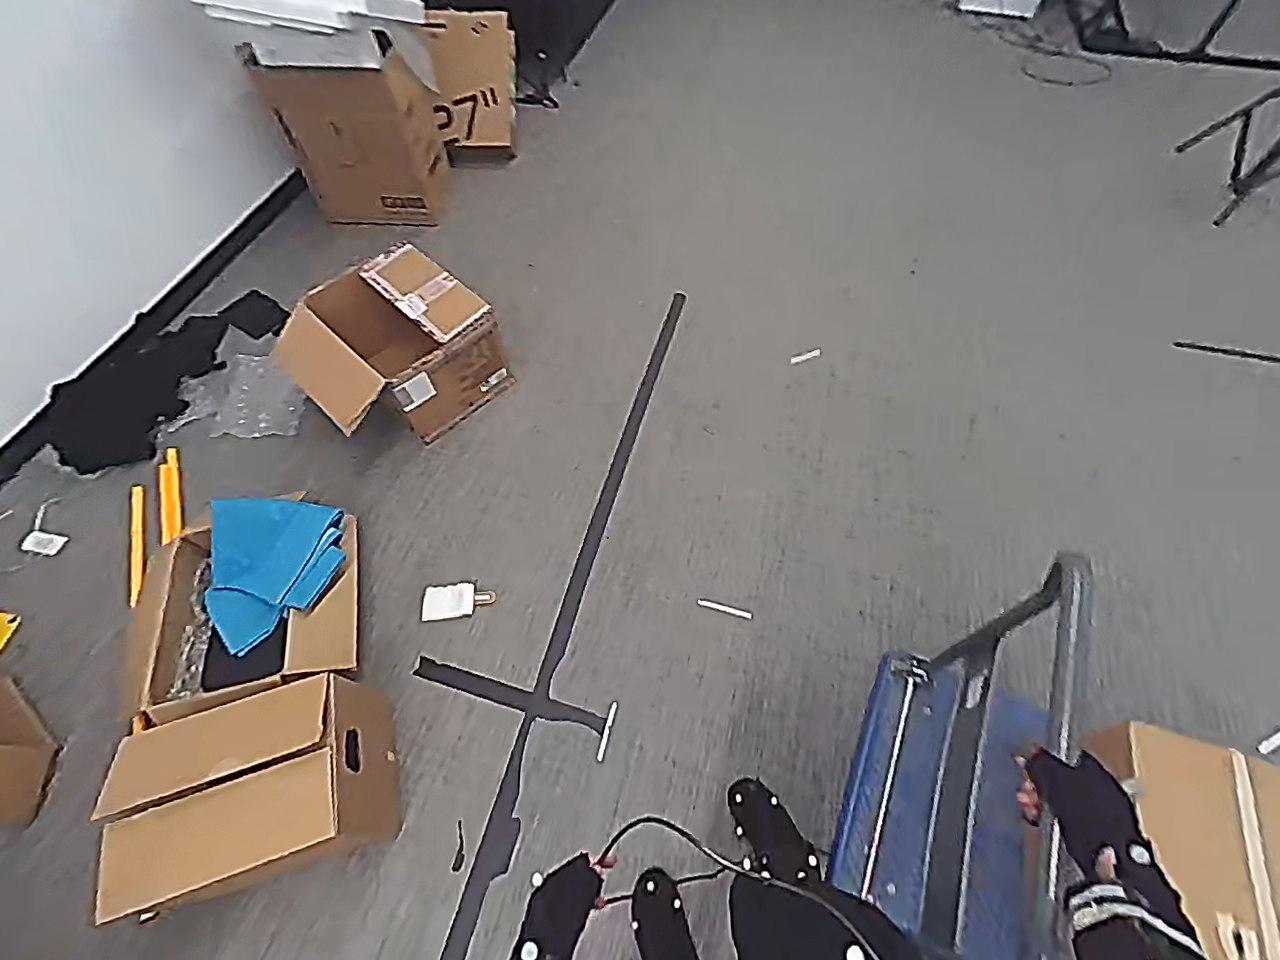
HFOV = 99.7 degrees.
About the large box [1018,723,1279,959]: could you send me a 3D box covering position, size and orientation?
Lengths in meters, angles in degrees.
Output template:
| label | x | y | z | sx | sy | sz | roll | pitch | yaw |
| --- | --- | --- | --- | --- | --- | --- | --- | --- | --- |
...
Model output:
| label | x | y | z | sx | sy | sz | roll | pitch | yaw |
| --- | --- | --- | --- | --- | --- | --- | --- | --- | --- |
| large box | 0.891 | 0.680 | 0.914 | 0.320 | 0.320 | 0.408 | 16 | 61 | 11 |
